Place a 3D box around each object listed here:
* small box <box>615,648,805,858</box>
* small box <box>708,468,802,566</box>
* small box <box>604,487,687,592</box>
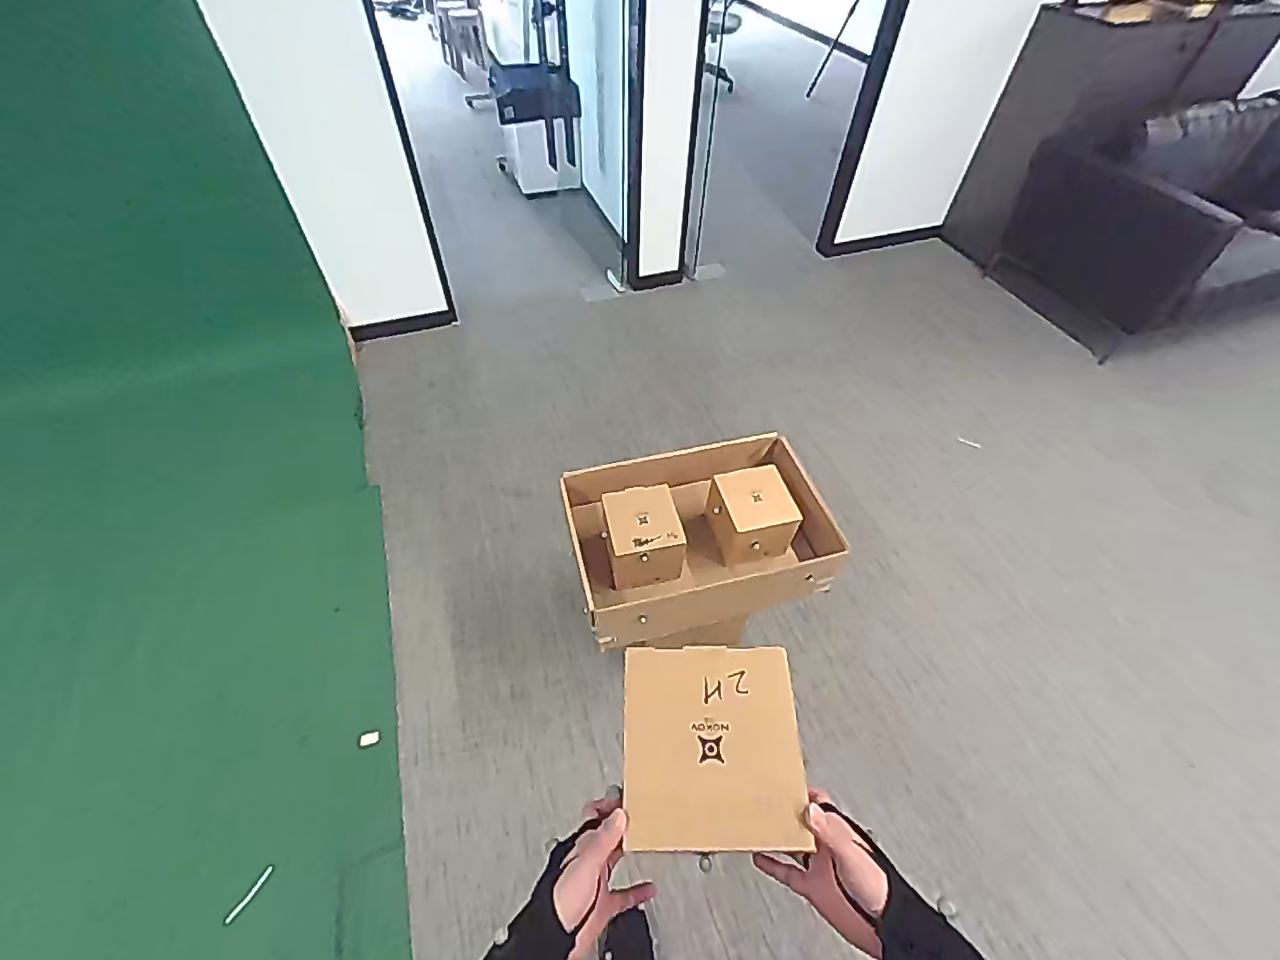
[{"bbox_3d":[0.064,0.290,0.571,0.168,0.176,0.179,0,55,1],"label":"small box"},{"bbox_3d":[0.279,0.099,1.354,0.168,0.176,0.179,-11,52,-10],"label":"small box"},{"bbox_3d":[0.008,0.146,1.305,0.168,0.176,0.179,-9,51,-8],"label":"small box"}]
